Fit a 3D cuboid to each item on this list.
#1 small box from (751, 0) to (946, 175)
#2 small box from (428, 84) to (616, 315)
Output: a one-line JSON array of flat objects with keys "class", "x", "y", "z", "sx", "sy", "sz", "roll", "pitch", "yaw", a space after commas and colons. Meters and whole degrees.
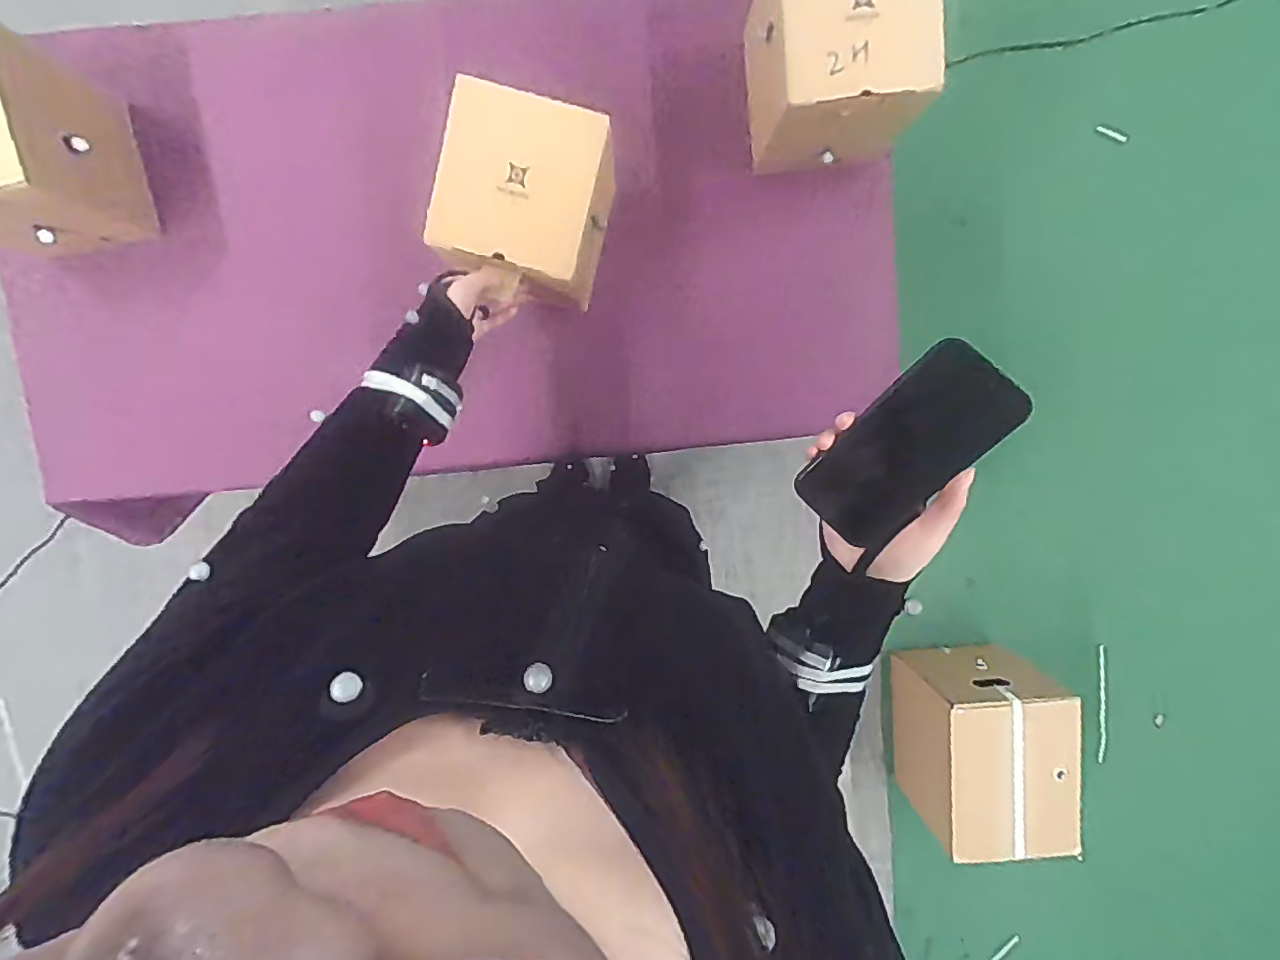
[{"class": "small box", "x": 0.229, "y": -0.490, "z": 0.633, "sx": 0.168, "sy": 0.176, "sz": 0.179, "roll": -5, "pitch": 97, "yaw": 1}, {"class": "small box", "x": -0.129, "y": -0.318, "z": 0.653, "sx": 0.168, "sy": 0.176, "sz": 0.179, "roll": 15, "pitch": 97, "yaw": -2}]
